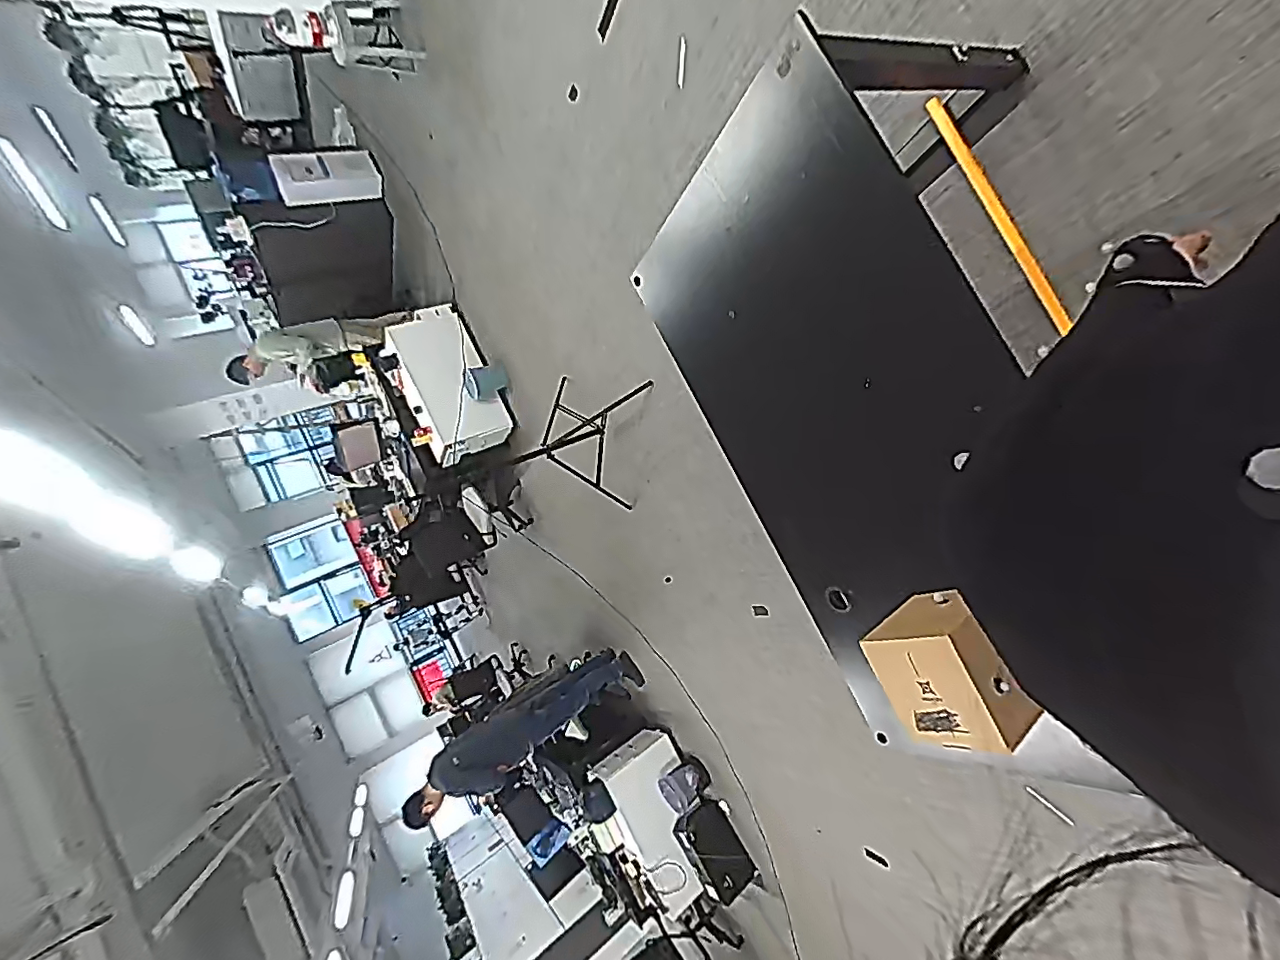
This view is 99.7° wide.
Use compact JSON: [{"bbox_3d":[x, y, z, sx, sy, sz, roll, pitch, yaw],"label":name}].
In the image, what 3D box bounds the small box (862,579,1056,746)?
[{"bbox_3d":[0.496,0.278,0.844,0.179,0.176,0.168,63,150,6],"label":"small box"}]
